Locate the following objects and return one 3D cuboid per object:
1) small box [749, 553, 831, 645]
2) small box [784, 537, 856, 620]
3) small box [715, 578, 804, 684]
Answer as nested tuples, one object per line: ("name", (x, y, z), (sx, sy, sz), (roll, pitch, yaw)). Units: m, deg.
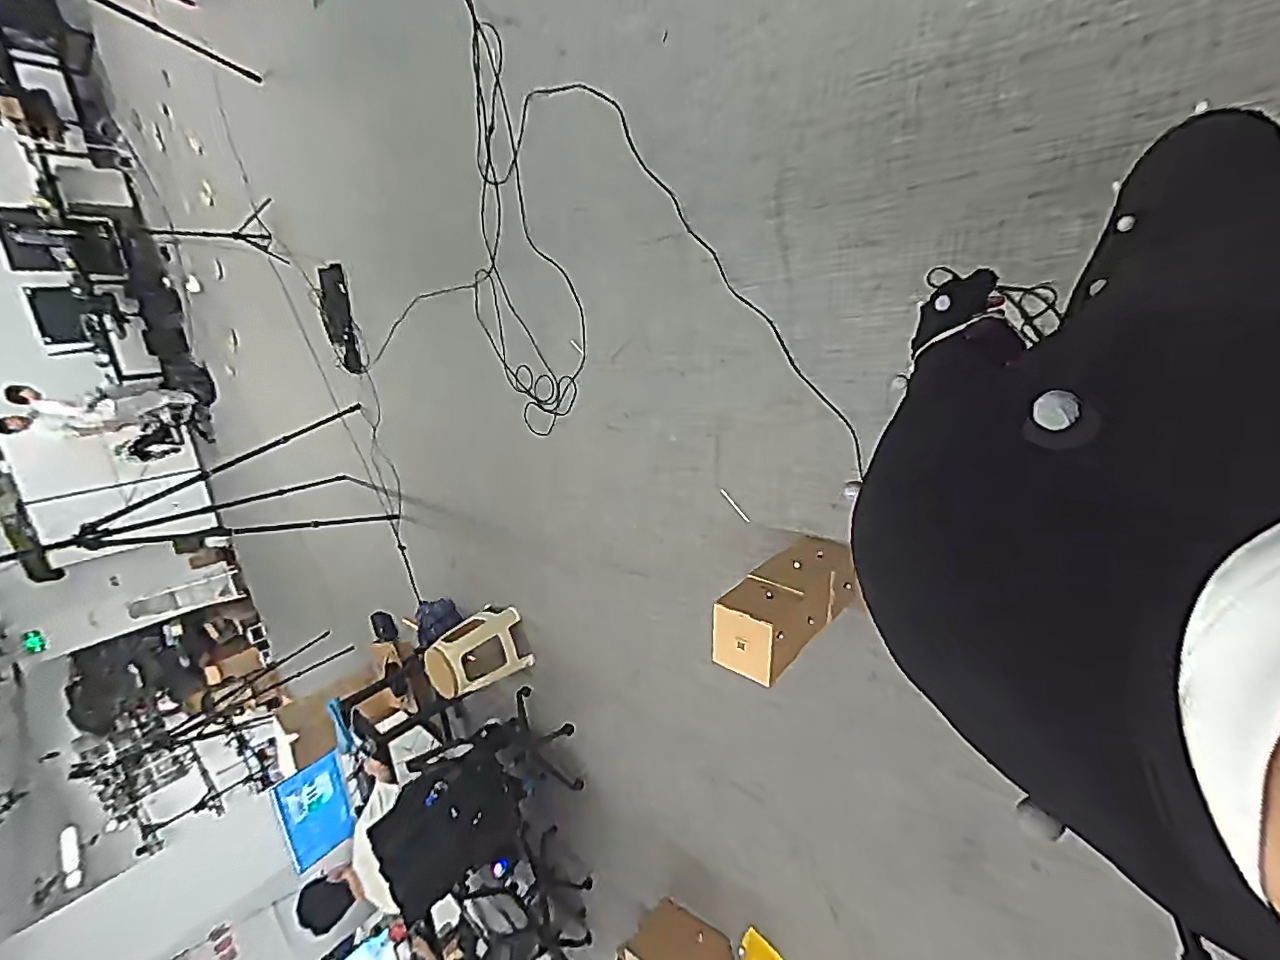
("small box", (0.413, 0.326, 1.496), (0.168, 0.176, 0.179), (14, 114, 39))
("small box", (0.526, 0.283, 1.608), (0.179, 0.176, 0.168), (13, 113, 39))
("small box", (0.307, 0.377, 1.383), (0.168, 0.176, 0.179), (14, 114, 39))
